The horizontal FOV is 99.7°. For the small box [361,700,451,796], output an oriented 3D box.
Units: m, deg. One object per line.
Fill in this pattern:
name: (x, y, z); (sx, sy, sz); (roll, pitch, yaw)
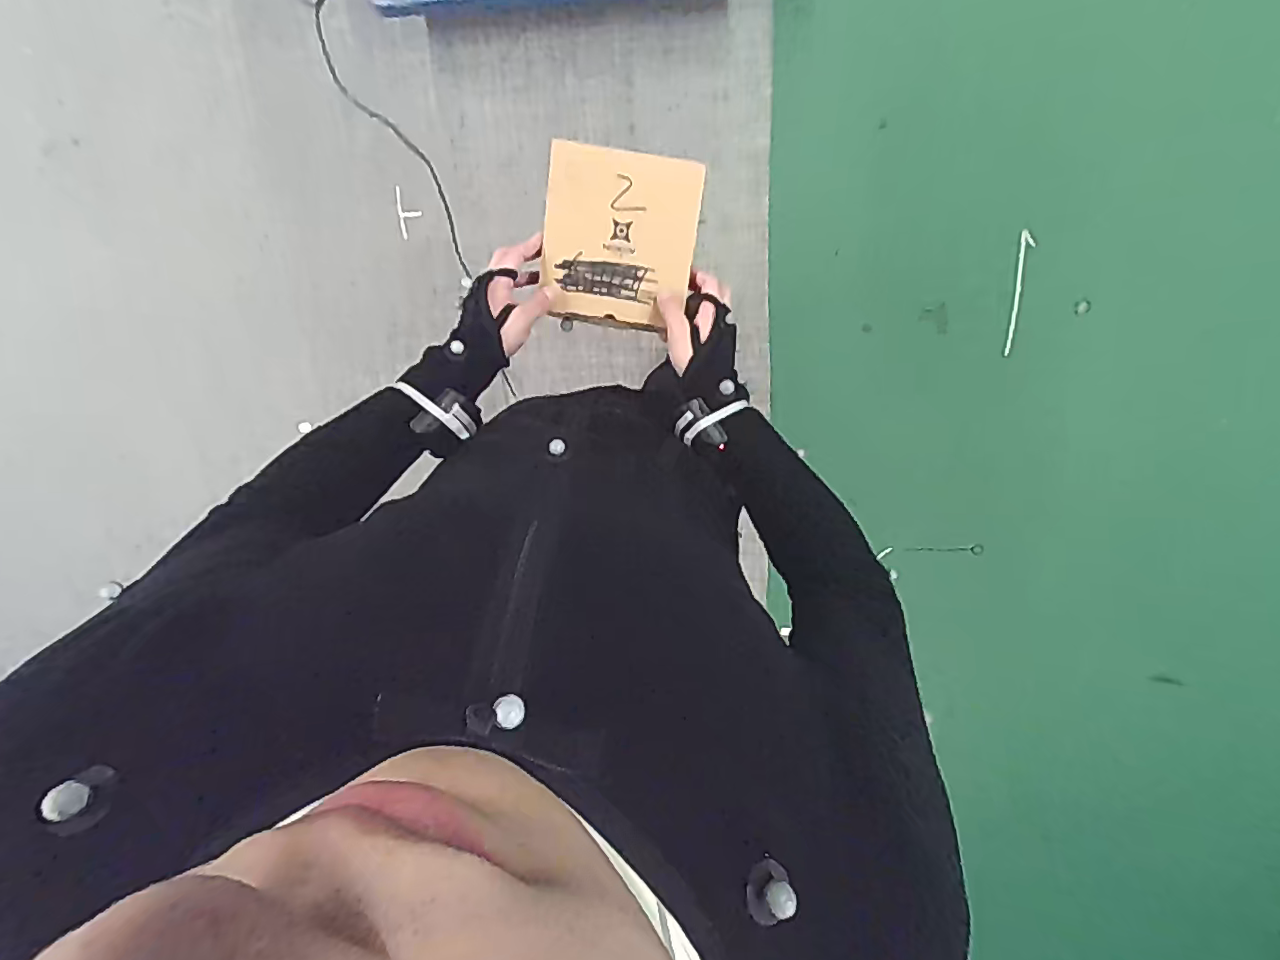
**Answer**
small box: (-0.628, 0.725, 1.477); (0.179, 0.176, 0.168); (4, 106, 2)
